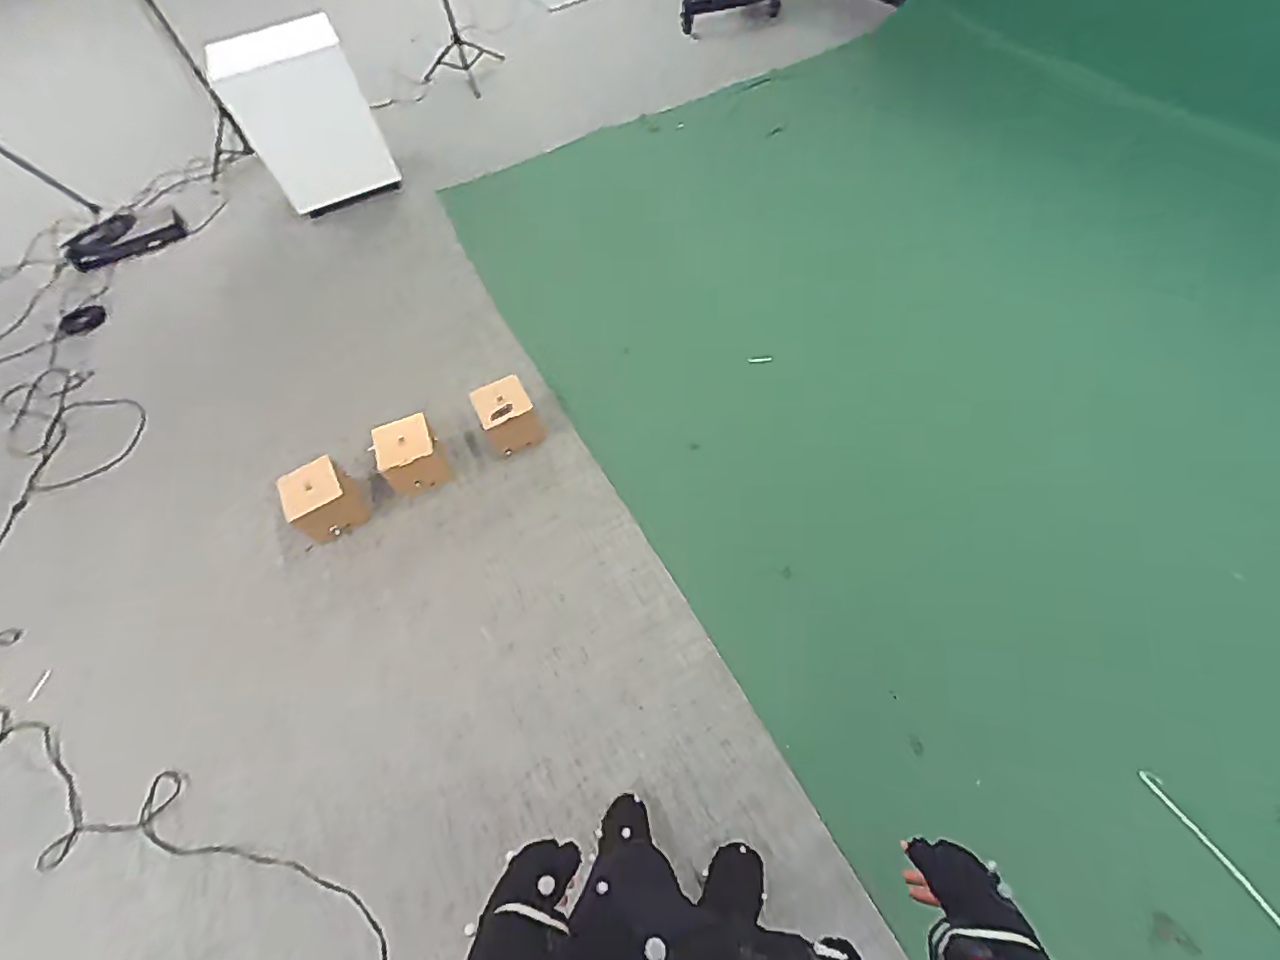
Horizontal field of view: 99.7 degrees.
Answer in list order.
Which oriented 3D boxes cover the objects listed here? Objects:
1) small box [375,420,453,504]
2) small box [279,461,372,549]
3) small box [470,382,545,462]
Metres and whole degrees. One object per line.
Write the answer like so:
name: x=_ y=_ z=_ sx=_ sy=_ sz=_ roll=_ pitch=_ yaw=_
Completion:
small box: x=-0.717 y=-0.055 z=1.720 sx=0.168 sy=0.176 sz=0.179 roll=-22 pitch=59 yaw=-9
small box: x=-0.960 y=0.080 z=1.657 sx=0.168 sy=0.176 sz=0.179 roll=-31 pitch=62 yaw=-12
small box: x=-0.429 y=-0.182 z=1.774 sx=0.168 sy=0.176 sz=0.179 roll=-26 pitch=58 yaw=-11
